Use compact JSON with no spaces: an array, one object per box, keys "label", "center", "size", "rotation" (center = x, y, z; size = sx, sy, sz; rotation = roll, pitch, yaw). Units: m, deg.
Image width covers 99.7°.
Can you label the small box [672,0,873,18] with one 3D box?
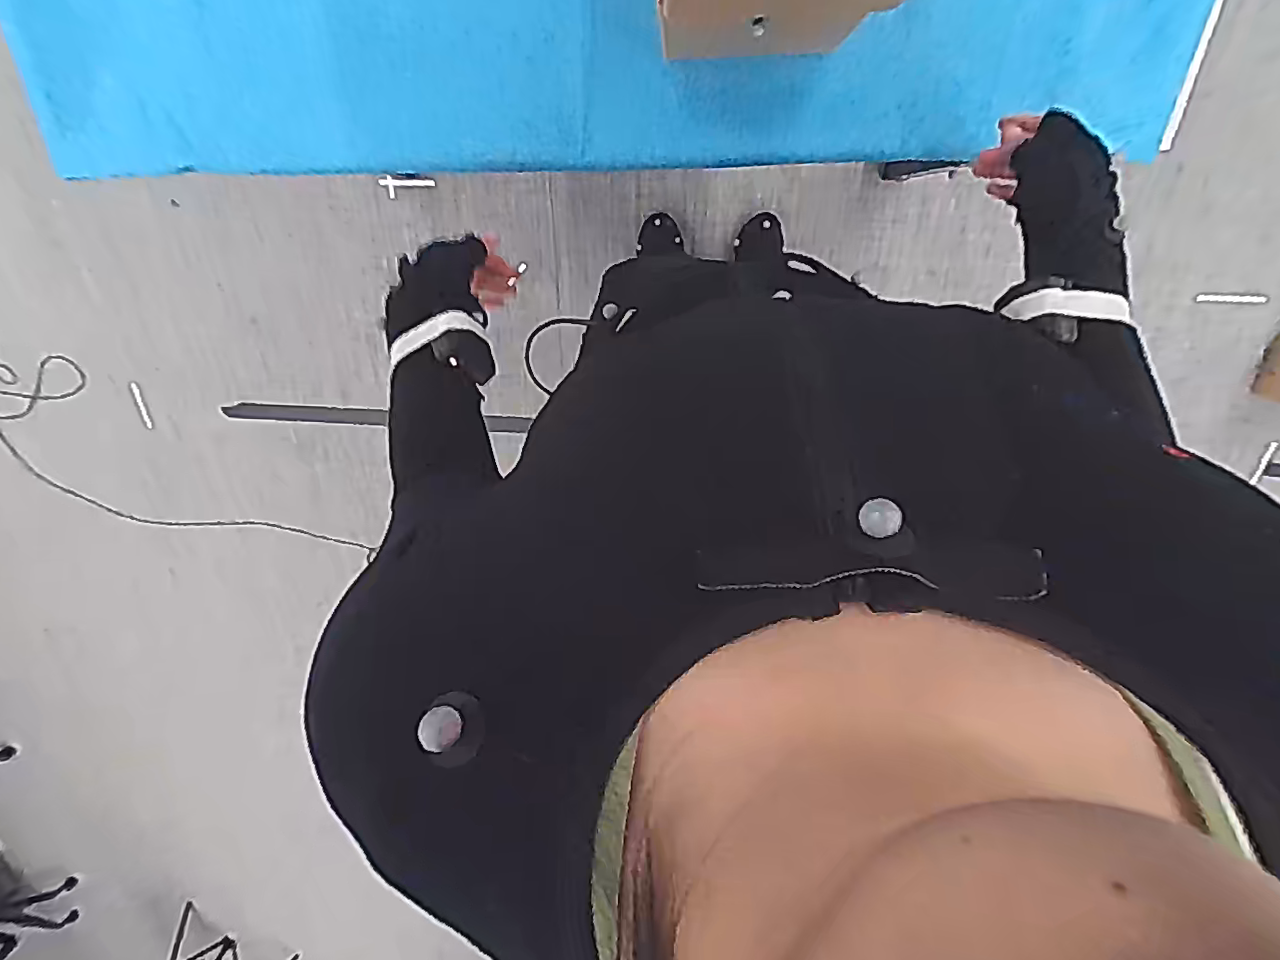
[{"label":"small box","center":[0.098,-0.392,0.302],"size":[0.179,0.176,0.168],"rotation":[-2,116,5]}]

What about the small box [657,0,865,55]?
[{"label":"small box","center":[0.103,-0.471,0.444],"size":[0.179,0.176,0.168],"rotation":[2,117,4]}]

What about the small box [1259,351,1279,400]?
[{"label":"small box","center":[1.597,-0.250,1.223],"size":[0.179,0.176,0.168],"rotation":[1,117,4]}]
